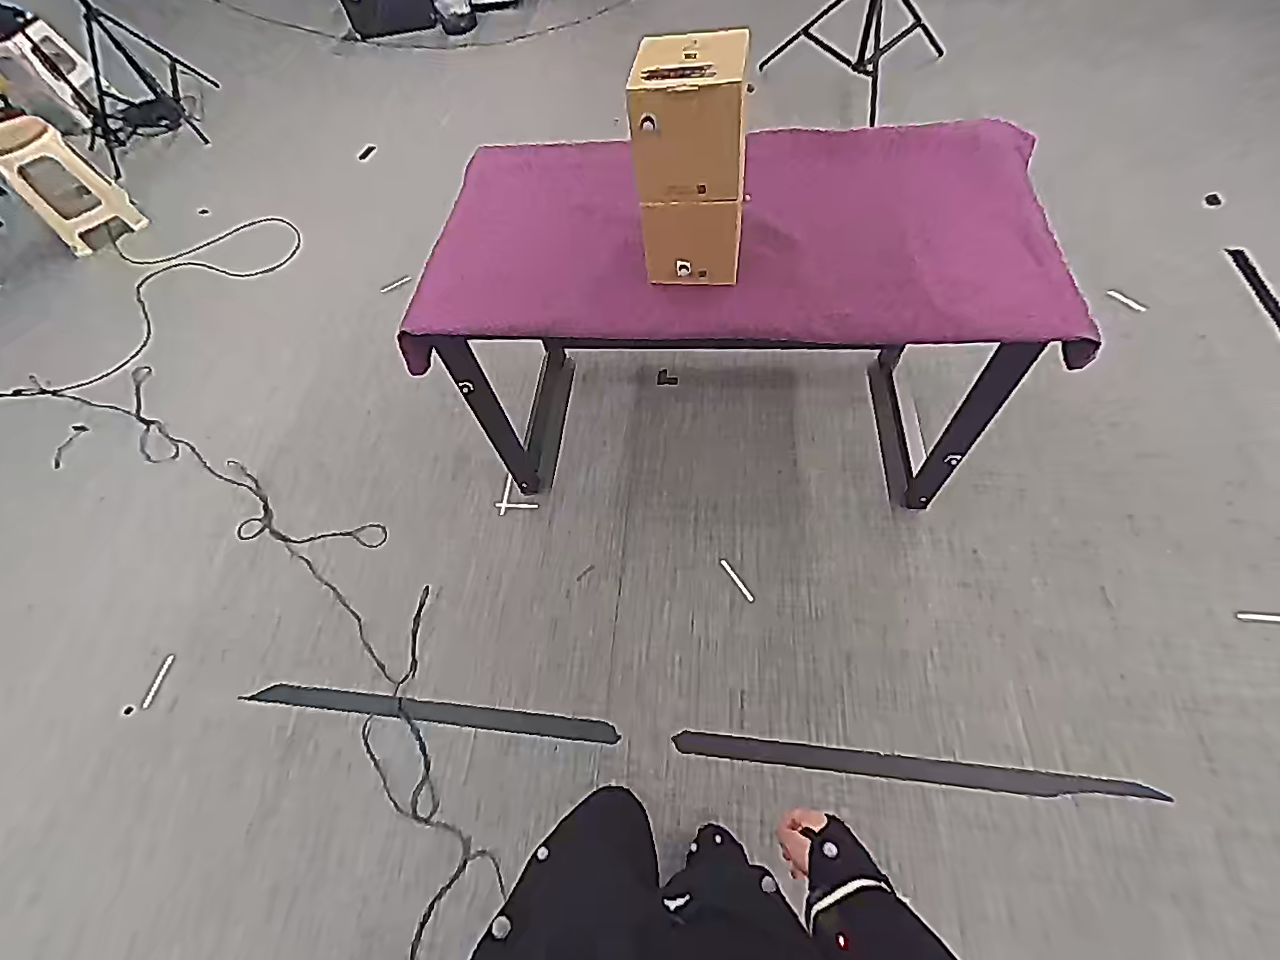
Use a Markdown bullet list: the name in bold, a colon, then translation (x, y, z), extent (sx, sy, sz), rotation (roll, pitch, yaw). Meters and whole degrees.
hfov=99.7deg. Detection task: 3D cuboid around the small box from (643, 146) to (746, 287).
- **small box**: translation (0.104, -0.484, 0.998), extent (0.168, 0.176, 0.179), rotation (4, 60, 10)
